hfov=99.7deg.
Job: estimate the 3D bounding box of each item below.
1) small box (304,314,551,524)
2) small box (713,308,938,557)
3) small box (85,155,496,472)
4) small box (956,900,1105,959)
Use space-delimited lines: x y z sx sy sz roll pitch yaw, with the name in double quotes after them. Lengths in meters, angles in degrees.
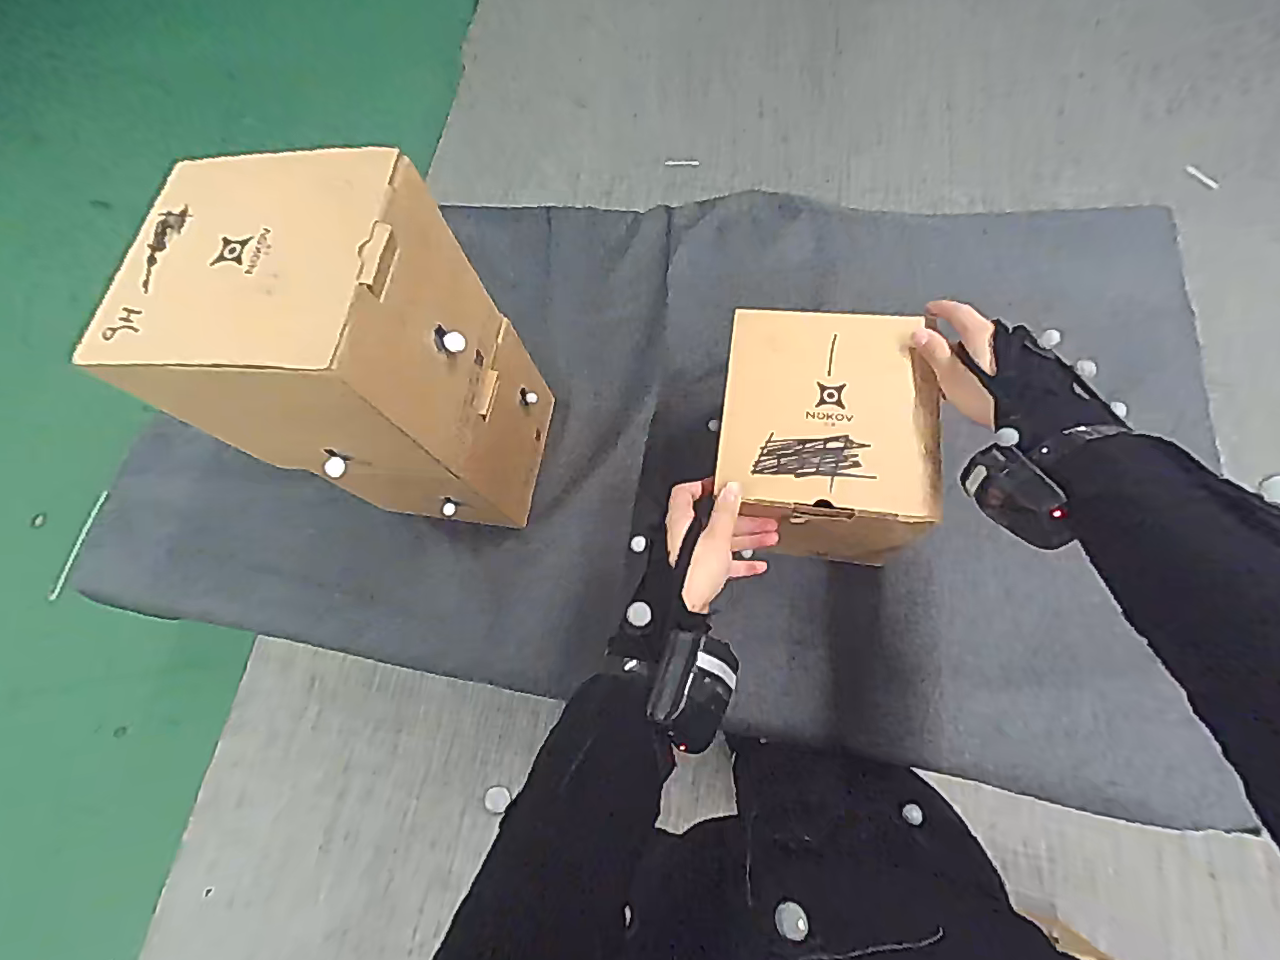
-0.208 -0.059 0.567 0.179 0.176 0.168 6 69 11 "small box"
0.161 -0.034 0.506 0.168 0.176 0.179 6 70 10 "small box"
-0.229 -0.113 0.413 0.179 0.176 0.168 4 69 8 "small box"
0.651 0.837 0.895 0.179 0.176 0.168 8 70 11 "small box"
